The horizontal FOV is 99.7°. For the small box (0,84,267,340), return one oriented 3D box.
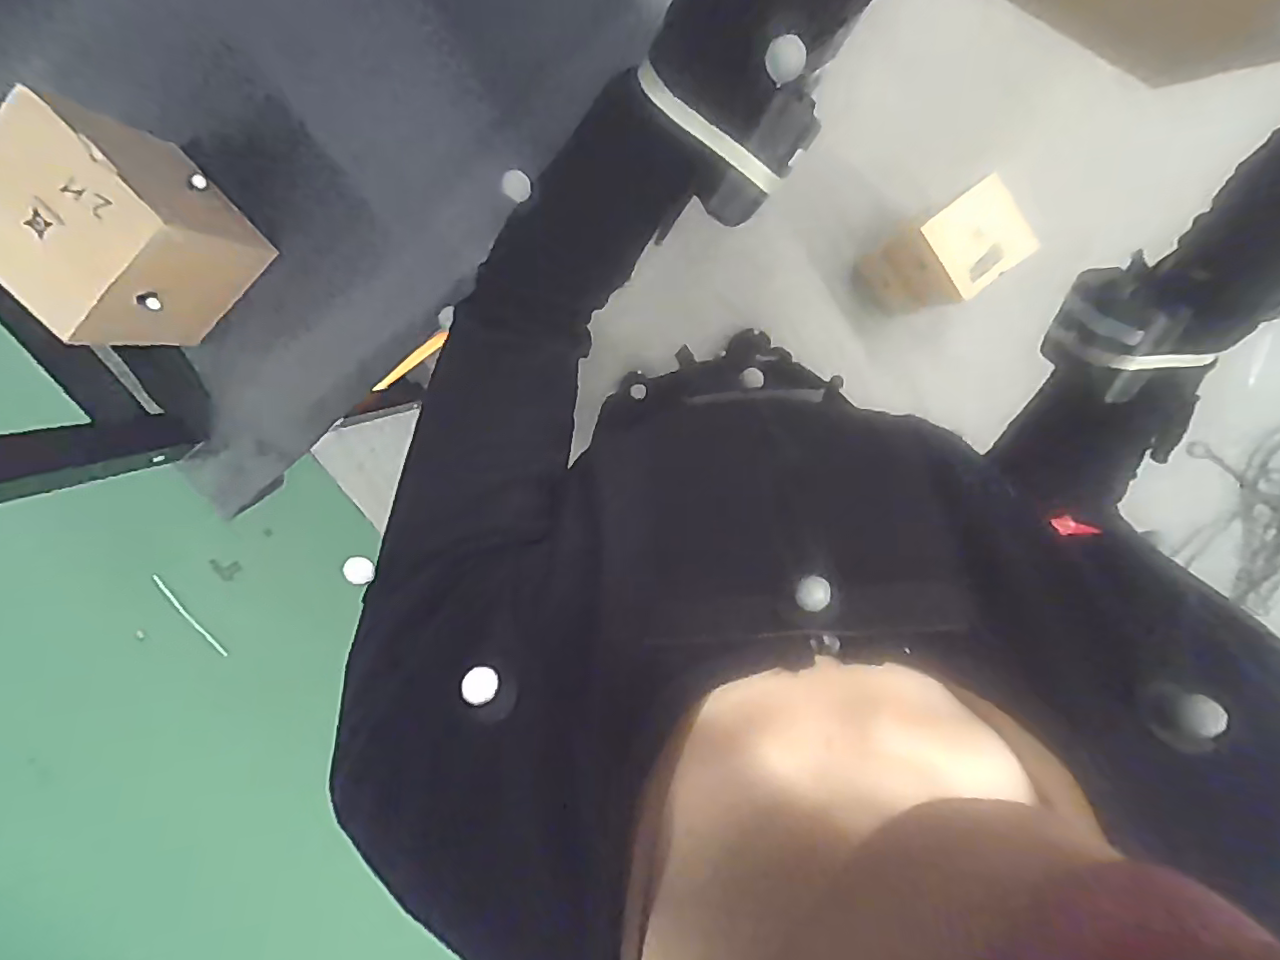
[{"bbox_3d":[-0.576,-0.273,0.604,0.179,0.176,0.168,-40,100,9],"label":"small box"}]

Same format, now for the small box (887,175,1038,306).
[{"bbox_3d":[0.647,-0.473,1.105,0.168,0.176,0.179,-36,99,9],"label":"small box"}]
